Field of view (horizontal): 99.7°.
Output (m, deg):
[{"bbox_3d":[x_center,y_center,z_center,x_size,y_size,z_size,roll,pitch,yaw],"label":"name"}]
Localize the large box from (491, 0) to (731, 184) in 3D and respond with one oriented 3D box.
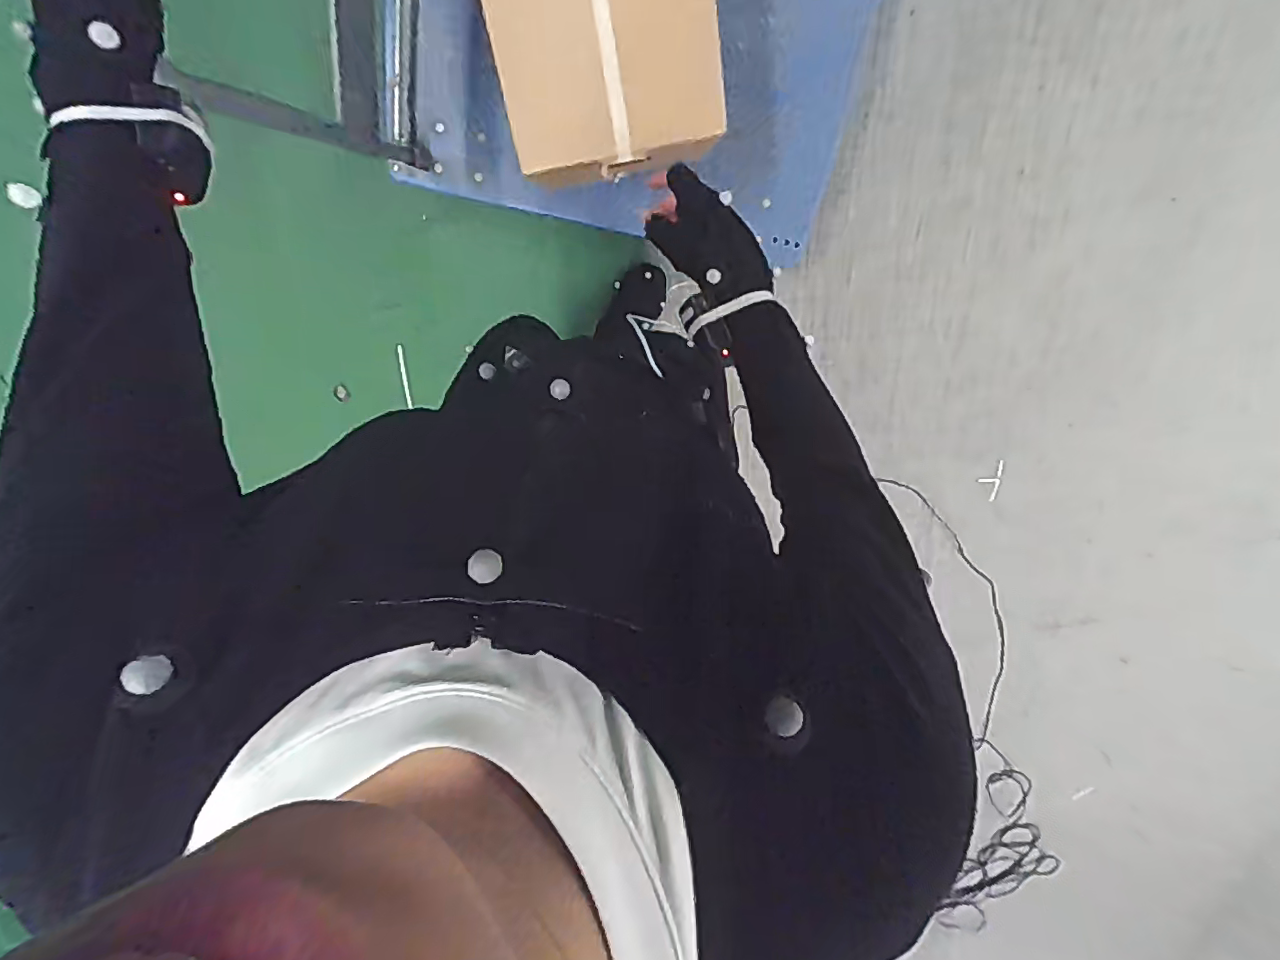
[{"bbox_3d":[-0.048,-0.737,0.863,0.320,0.320,0.408,-9,114,4],"label":"large box"}]
